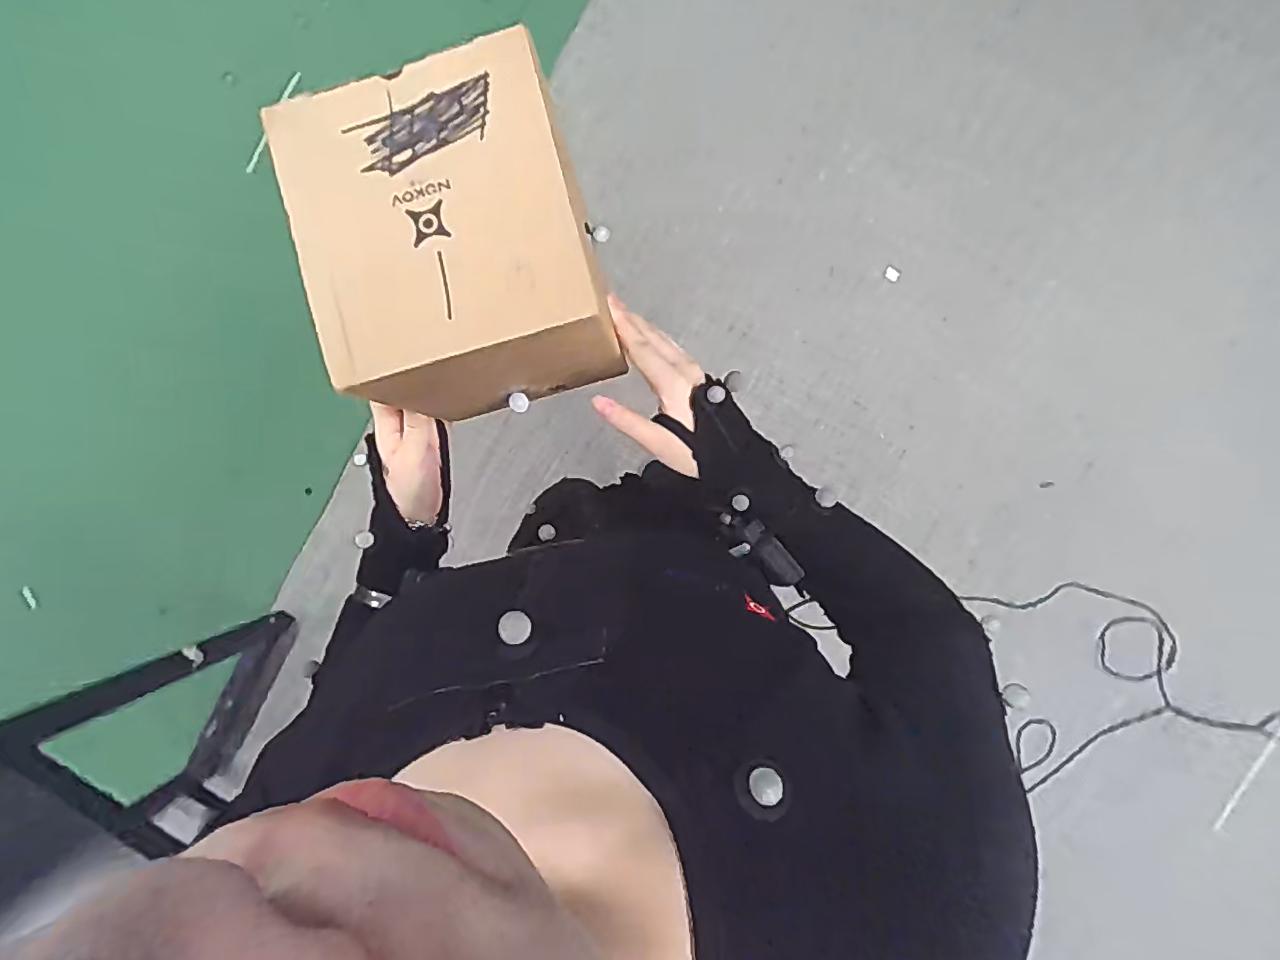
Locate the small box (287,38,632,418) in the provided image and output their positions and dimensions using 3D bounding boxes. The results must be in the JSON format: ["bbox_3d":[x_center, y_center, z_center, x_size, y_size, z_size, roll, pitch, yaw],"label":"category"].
[{"bbox_3d":[-0.107,-0.155,0.395,0.168,0.176,0.179,-14,90,4],"label":"small box"}]
